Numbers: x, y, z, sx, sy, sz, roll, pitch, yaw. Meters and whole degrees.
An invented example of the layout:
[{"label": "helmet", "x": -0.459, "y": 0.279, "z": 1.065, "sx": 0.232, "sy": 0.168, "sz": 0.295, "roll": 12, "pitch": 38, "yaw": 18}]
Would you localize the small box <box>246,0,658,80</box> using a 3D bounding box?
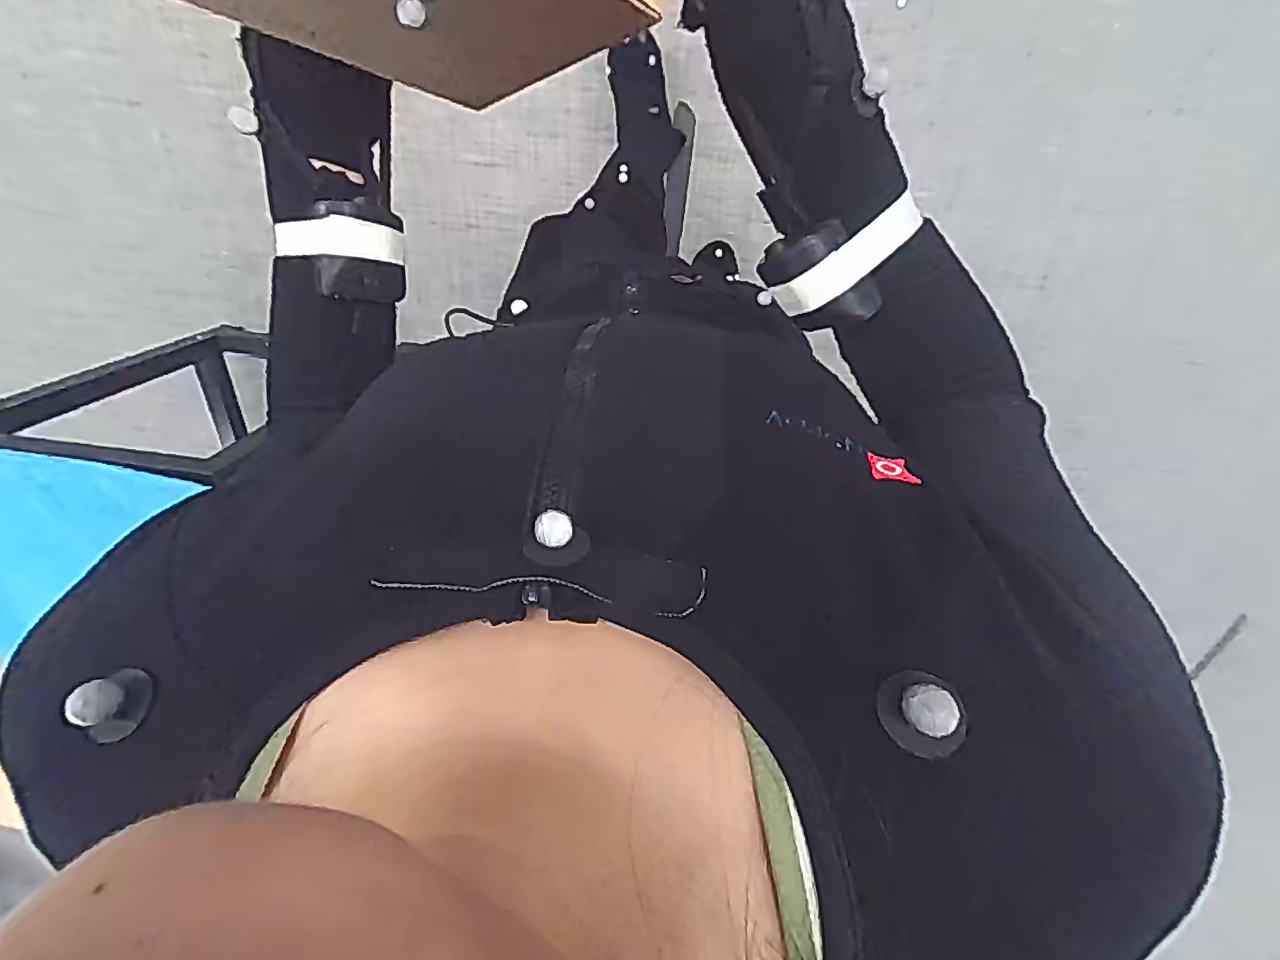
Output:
[{"label": "small box", "x": -0.105, "y": -0.313, "z": 0.237, "sx": 0.176, "sy": 0.179, "sz": 0.168, "roll": 13, "pitch": 108, "yaw": 40}]
